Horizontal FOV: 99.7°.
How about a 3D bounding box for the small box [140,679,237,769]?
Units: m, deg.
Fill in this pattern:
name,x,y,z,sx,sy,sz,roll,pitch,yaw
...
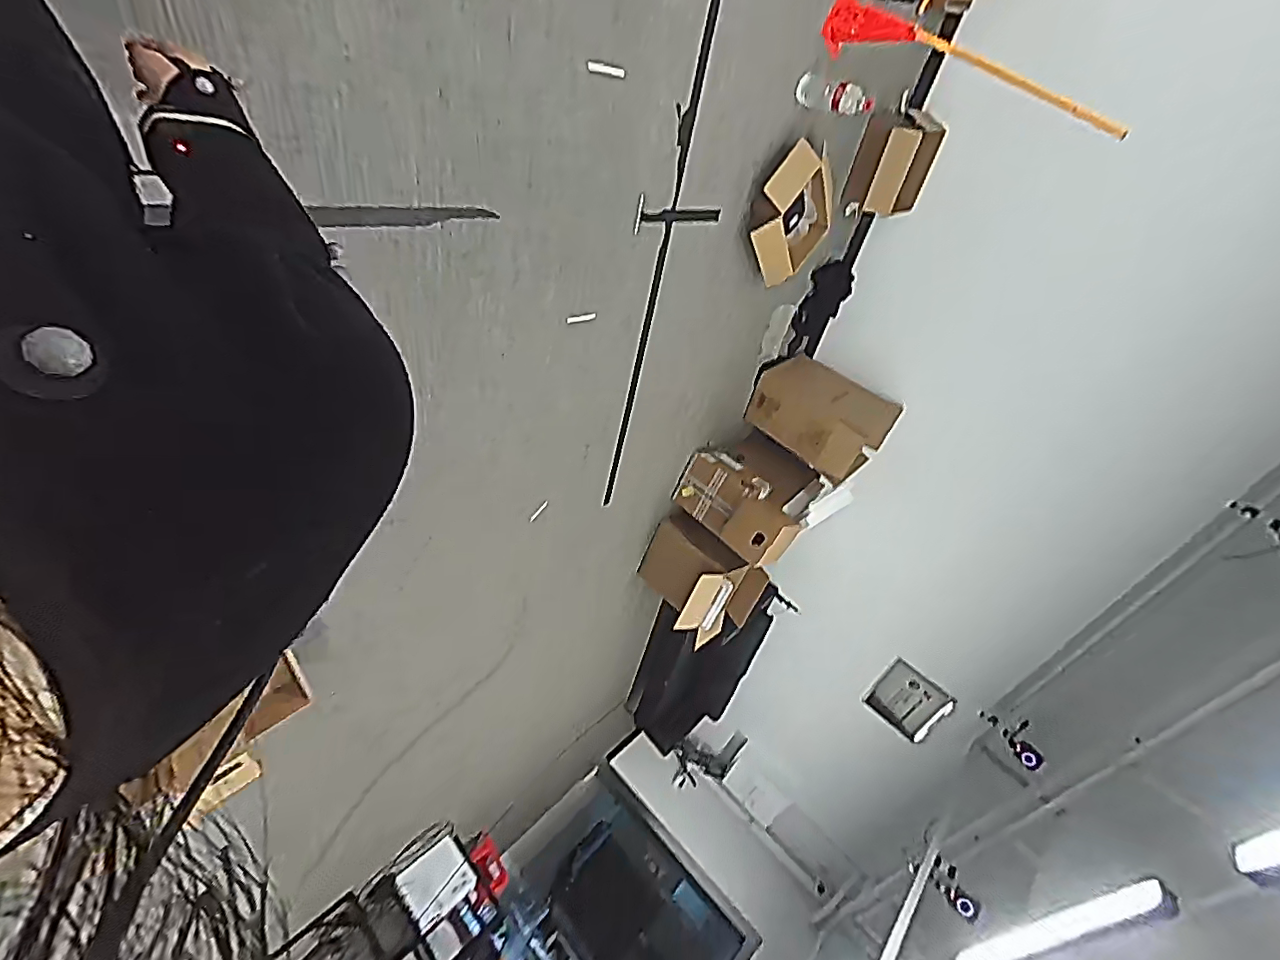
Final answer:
name,x,y,z,sx,sy,sz,roll,pitch,yaw
small box,-1.434,0.770,1.721,0.168,0.176,0.179,-32,147,-37
